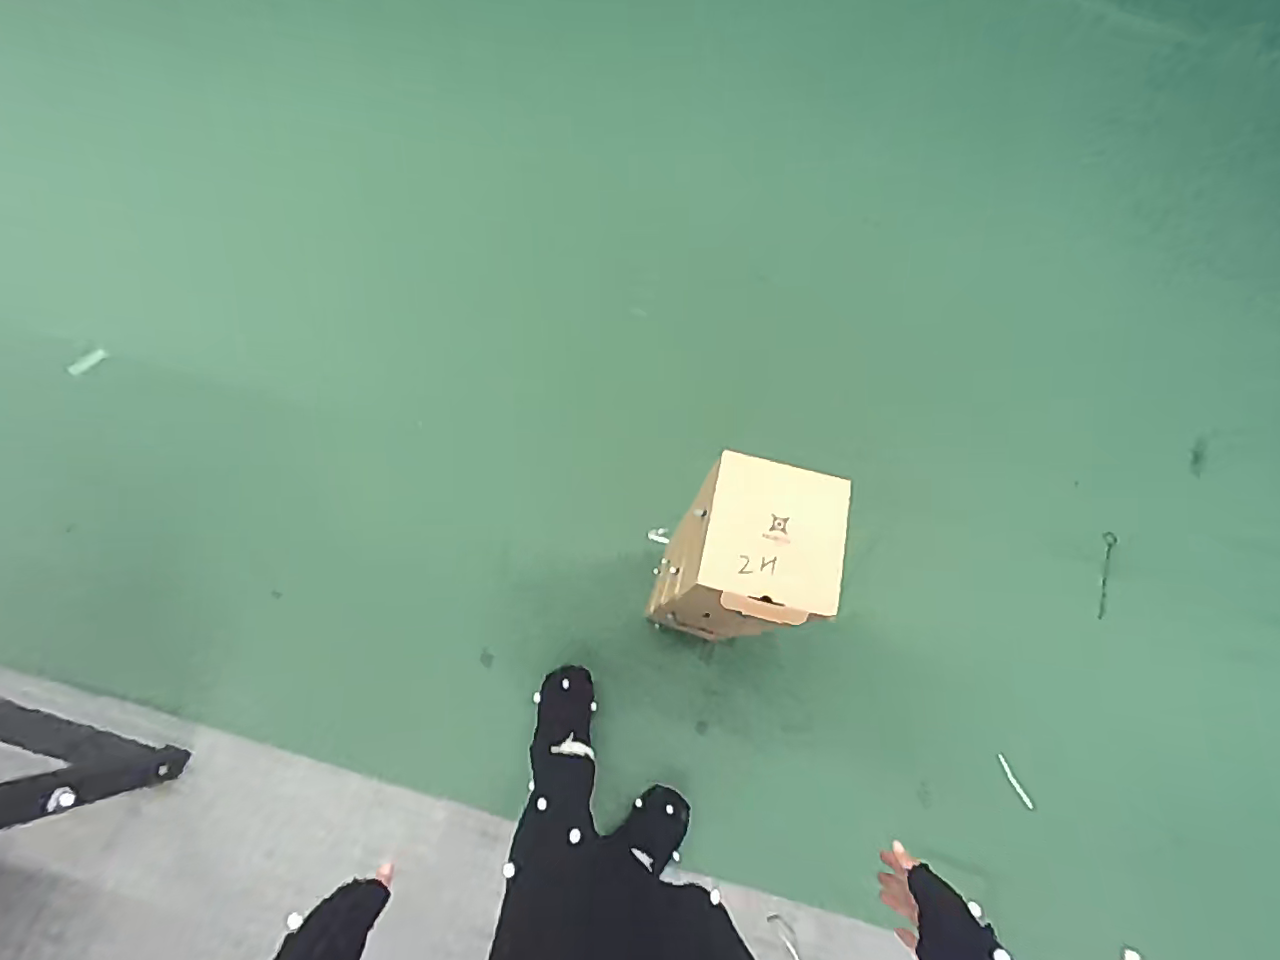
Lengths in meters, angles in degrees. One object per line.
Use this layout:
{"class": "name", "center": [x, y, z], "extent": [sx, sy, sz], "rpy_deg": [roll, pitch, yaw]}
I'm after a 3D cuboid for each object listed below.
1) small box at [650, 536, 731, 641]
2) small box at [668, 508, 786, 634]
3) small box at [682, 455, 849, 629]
{"class": "small box", "center": [0.123, 0.246, 1.192], "extent": [0.168, 0.176, 0.179], "rpy_deg": [18, 71, 2]}
{"class": "small box", "center": [0.149, 0.142, 0.882], "extent": [0.168, 0.176, 0.179], "rpy_deg": [15, 71, 1]}
{"class": "small box", "center": [0.159, 0.092, 0.726], "extent": [0.168, 0.176, 0.179], "rpy_deg": [14, 71, 1]}
